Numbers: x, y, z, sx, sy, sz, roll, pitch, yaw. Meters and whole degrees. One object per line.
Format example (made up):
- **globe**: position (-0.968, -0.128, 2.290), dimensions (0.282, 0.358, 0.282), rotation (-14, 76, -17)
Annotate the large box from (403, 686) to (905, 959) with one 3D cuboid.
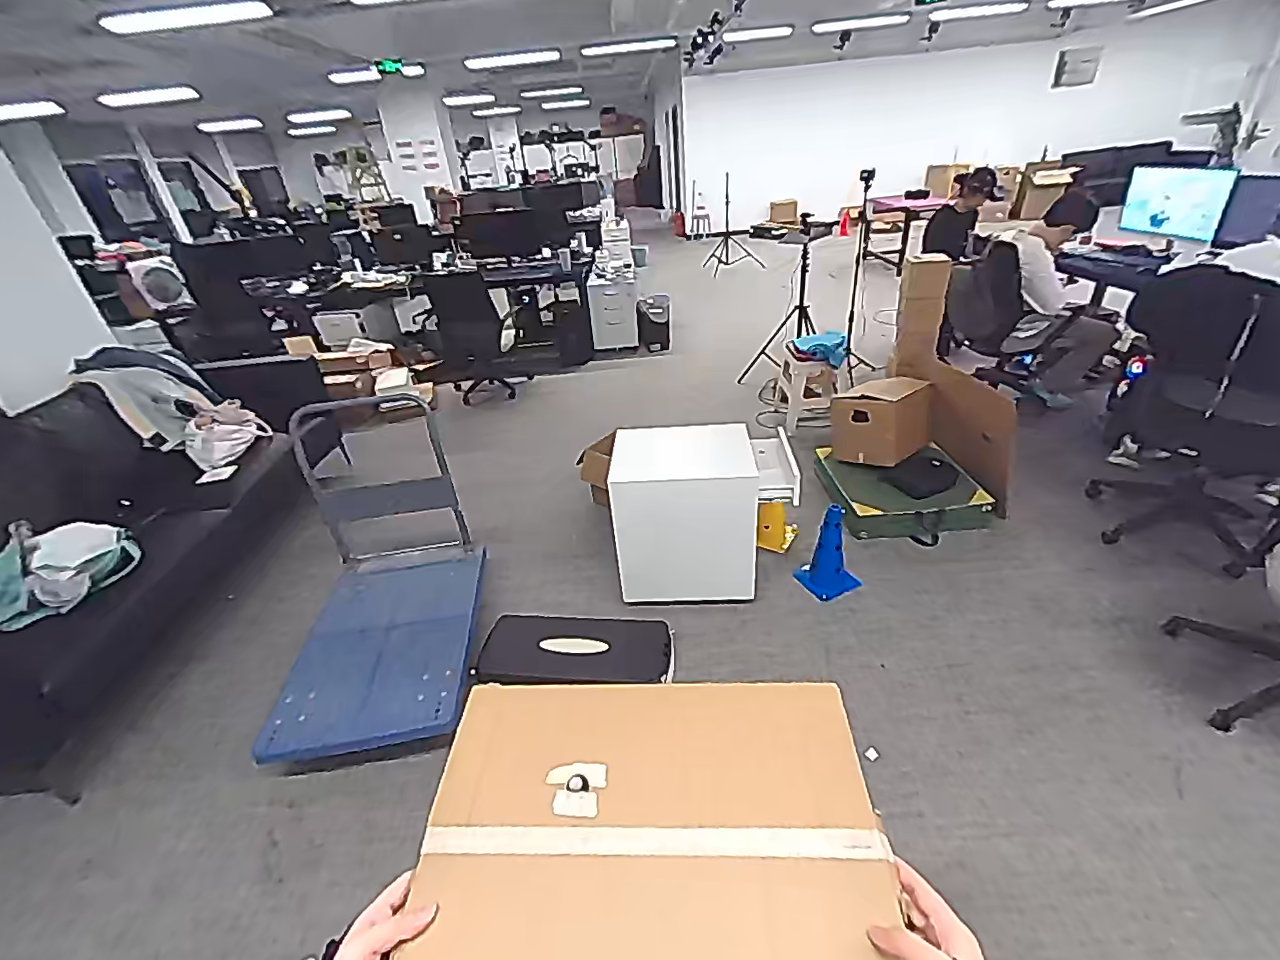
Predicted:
- **large box**: position (0.024, 0.449, 0.574), dimensions (0.408, 0.320, 0.320), rotation (-4, 37, 6)
